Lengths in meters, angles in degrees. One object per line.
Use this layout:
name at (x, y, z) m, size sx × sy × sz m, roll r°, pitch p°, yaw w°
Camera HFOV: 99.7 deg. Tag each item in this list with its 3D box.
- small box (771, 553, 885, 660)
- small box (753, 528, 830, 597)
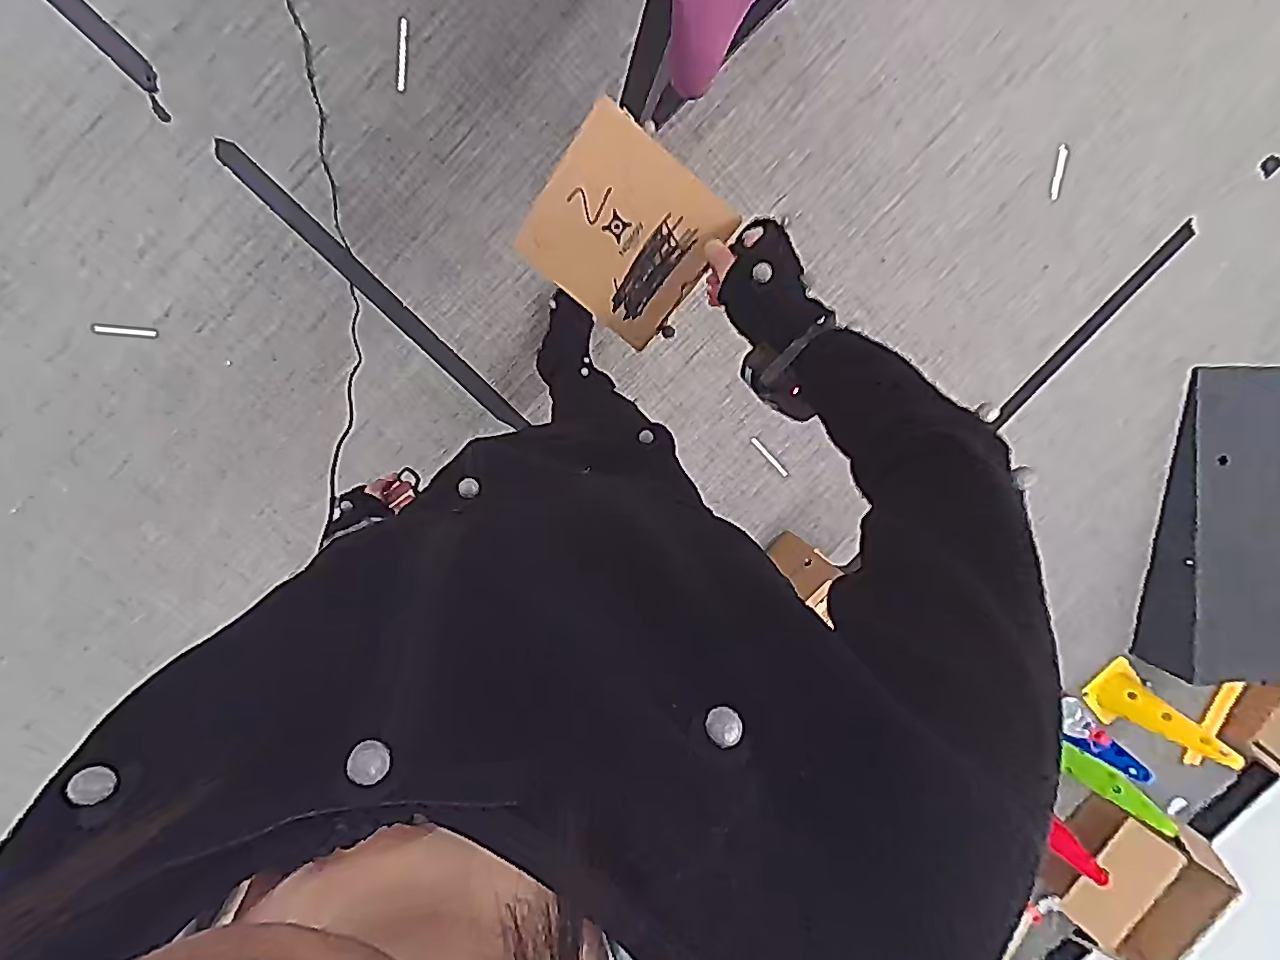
small box at (0.462, 0.305, 1.356) m, size 0.168 × 0.176 × 0.179 m, roll -45°, pitch 108°, yaw 3°
small box at (0.439, 0.264, 1.514) m, size 0.168 × 0.176 × 0.179 m, roll 41°, pitch 93°, yaw -17°
